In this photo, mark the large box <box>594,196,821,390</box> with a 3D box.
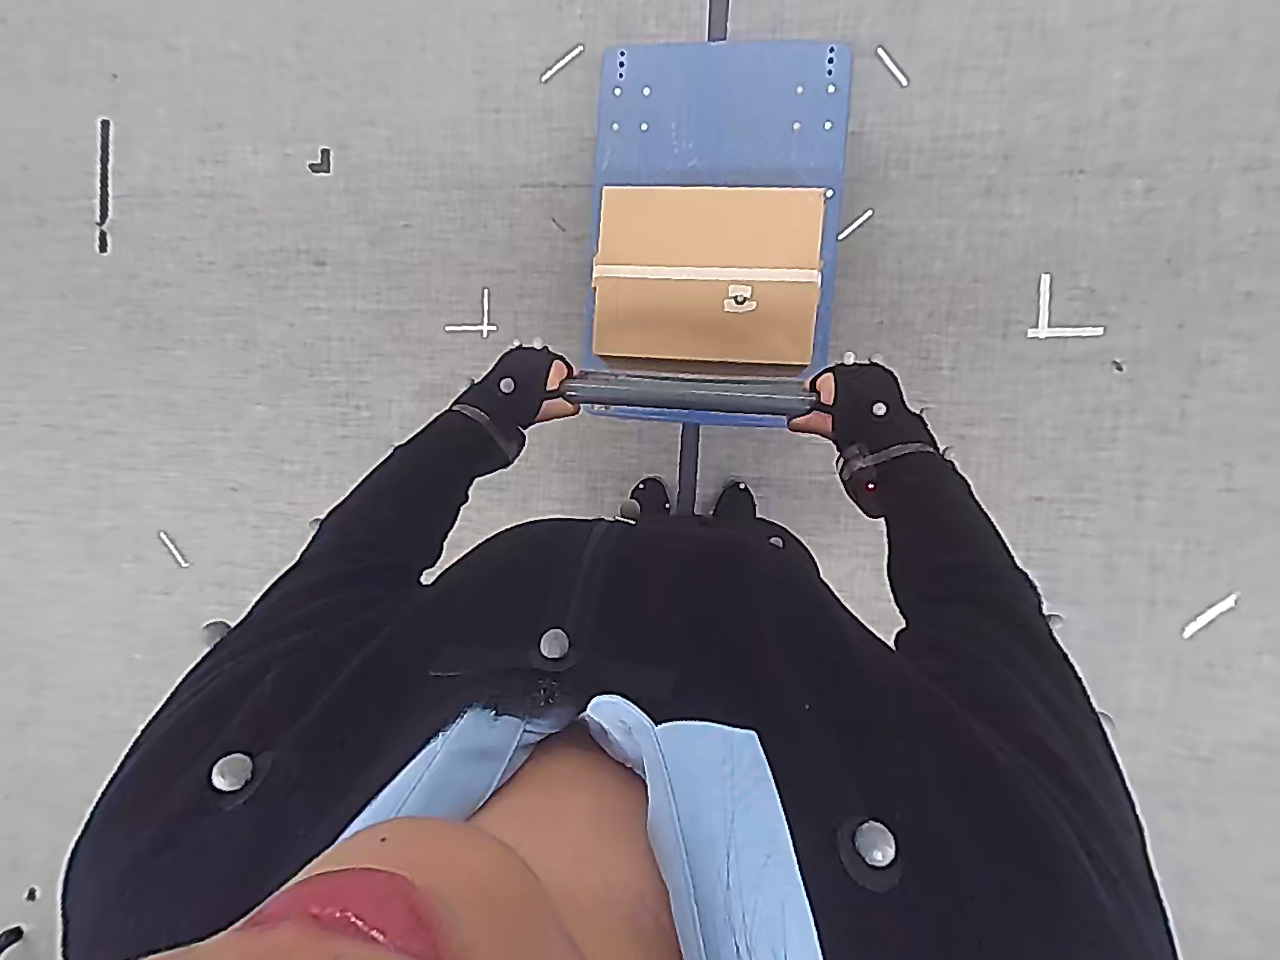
[{"bbox_3d":[0.132,-0.366,1.132,0.408,0.320,0.320,4,94,6],"label":"large box"}]
